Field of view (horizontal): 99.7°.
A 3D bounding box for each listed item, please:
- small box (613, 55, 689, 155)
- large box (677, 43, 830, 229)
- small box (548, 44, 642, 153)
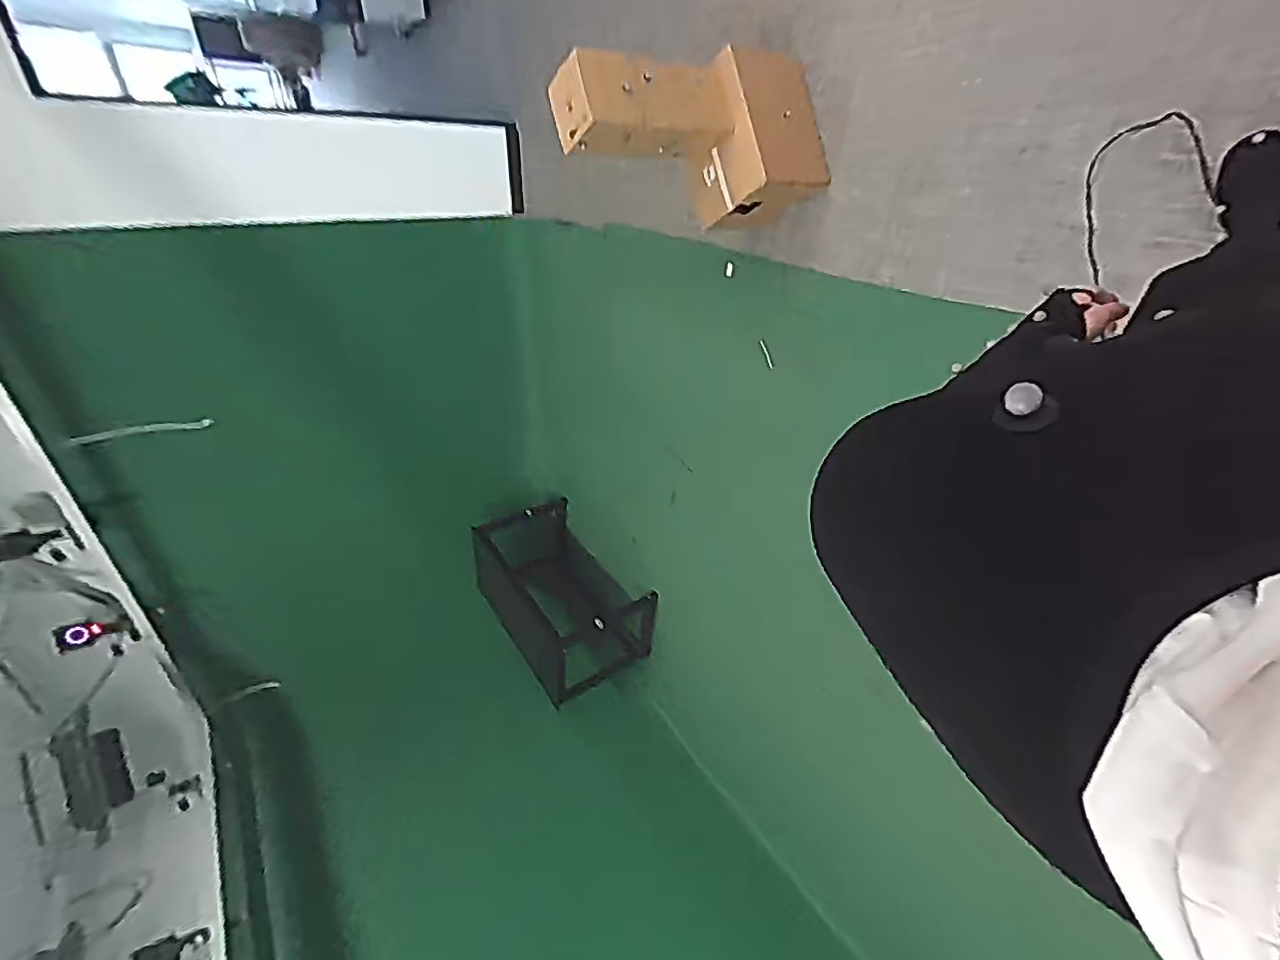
[{"bbox_3d":[0.012,-1.042,1.520,0.168,0.176,0.179,-2,105,57],"label":"small box"},{"bbox_3d":[0.354,-1.091,1.754,0.320,0.320,0.408,-11,99,59],"label":"large box"},{"bbox_3d":[-0.117,-0.996,1.430,0.168,0.176,0.179,-1,104,57],"label":"small box"}]
